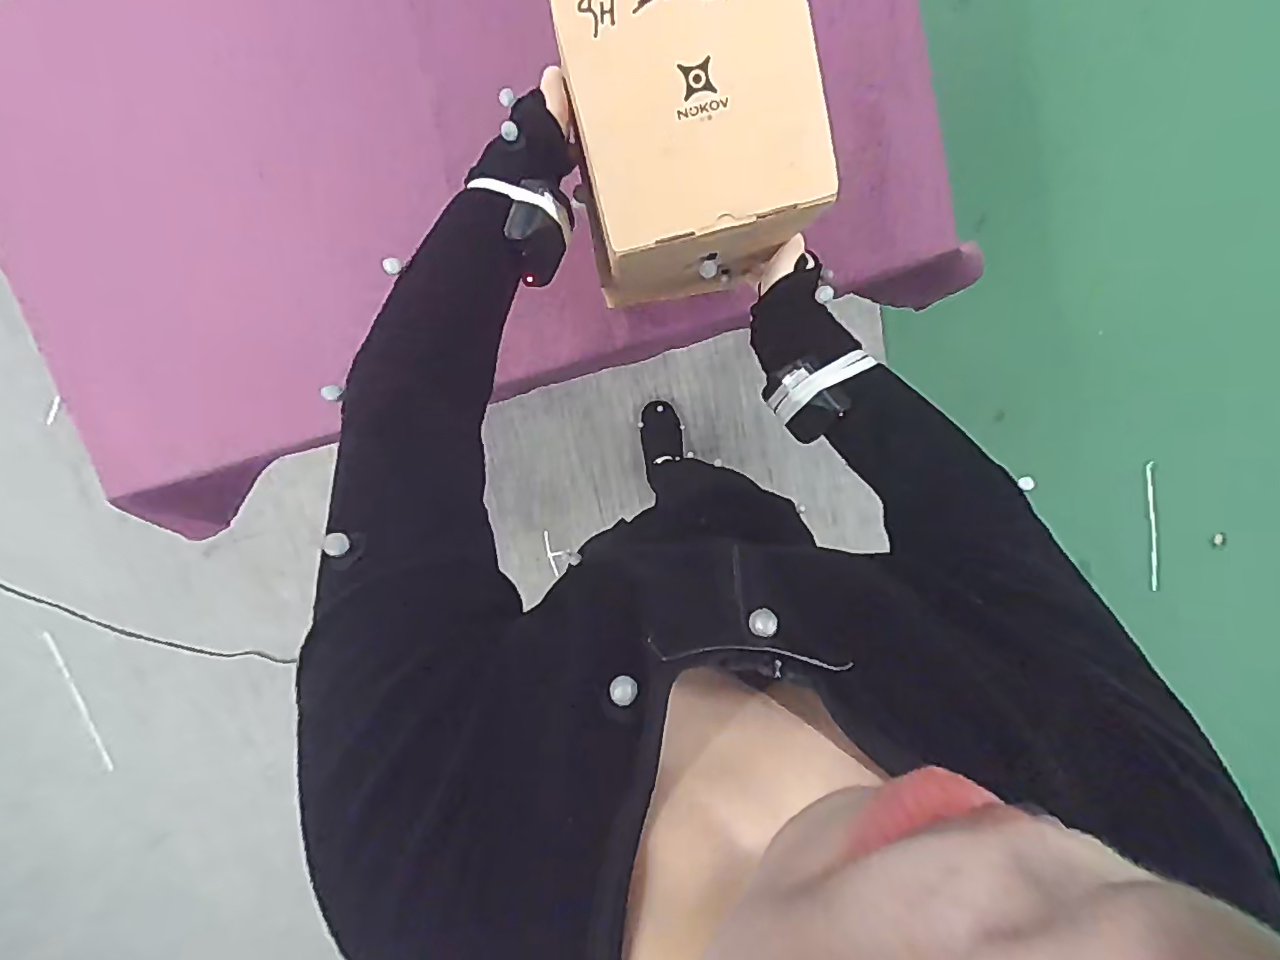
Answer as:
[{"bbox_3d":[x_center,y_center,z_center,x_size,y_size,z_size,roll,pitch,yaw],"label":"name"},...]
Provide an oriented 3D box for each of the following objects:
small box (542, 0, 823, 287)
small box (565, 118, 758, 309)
[{"bbox_3d":[0.032,-0.270,0.448,0.168,0.176,0.179,-14,101,1],"label":"small box"},{"bbox_3d":[0.024,-0.298,0.610,0.179,0.176,0.168,-10,100,1],"label":"small box"}]
